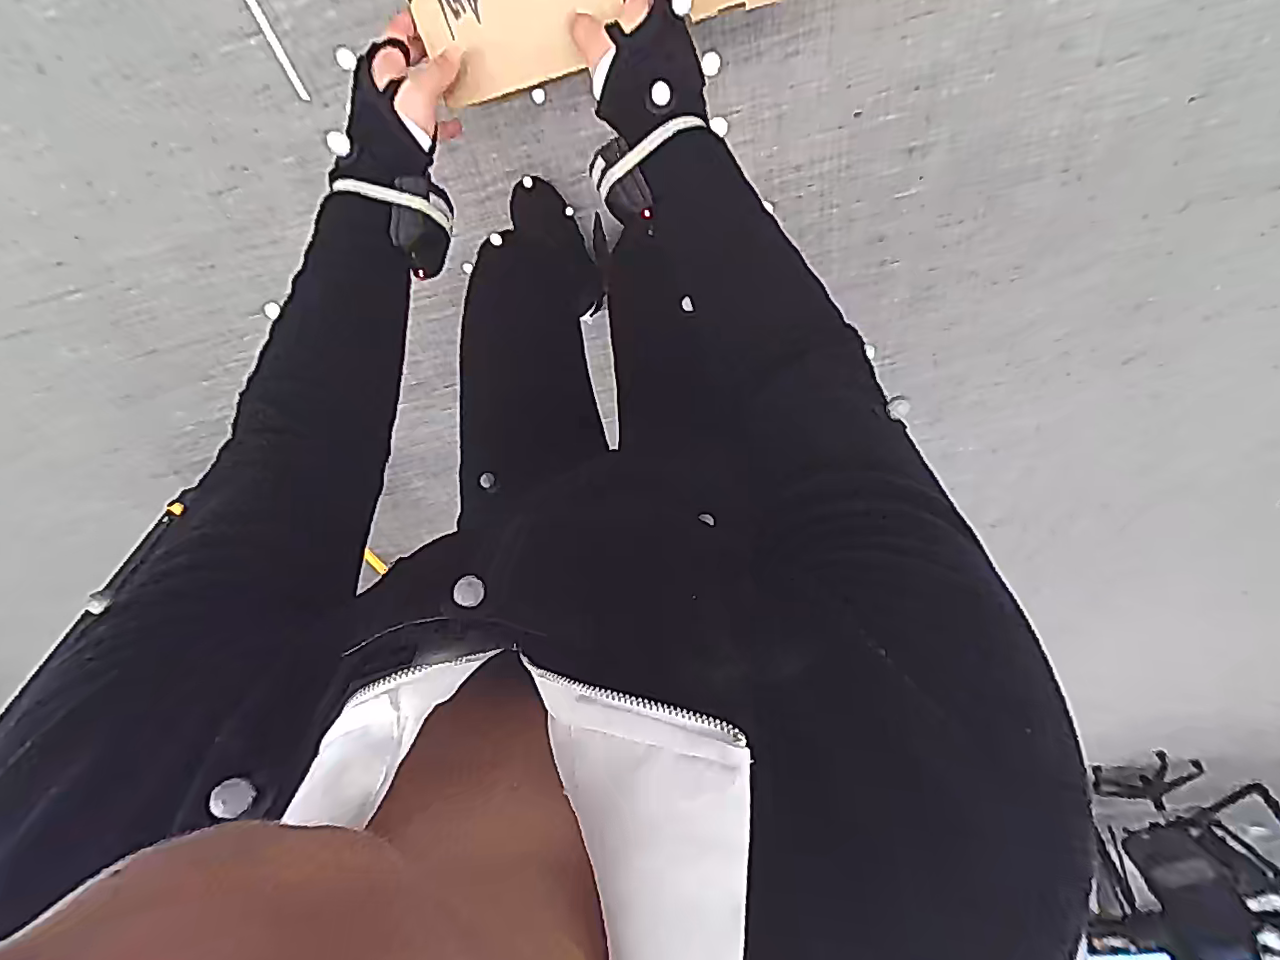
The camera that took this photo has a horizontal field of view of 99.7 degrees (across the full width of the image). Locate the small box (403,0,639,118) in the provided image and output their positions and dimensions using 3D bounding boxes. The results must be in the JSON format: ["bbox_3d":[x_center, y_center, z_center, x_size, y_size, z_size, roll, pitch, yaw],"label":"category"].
[{"bbox_3d":[-0.106,-0.449,0.492,0.179,0.176,0.168,-11,125,10],"label":"small box"}]

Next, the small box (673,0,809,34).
[{"bbox_3d":[0.107,-0.623,0.582,0.168,0.176,0.179,-10,135,8],"label":"small box"}]
